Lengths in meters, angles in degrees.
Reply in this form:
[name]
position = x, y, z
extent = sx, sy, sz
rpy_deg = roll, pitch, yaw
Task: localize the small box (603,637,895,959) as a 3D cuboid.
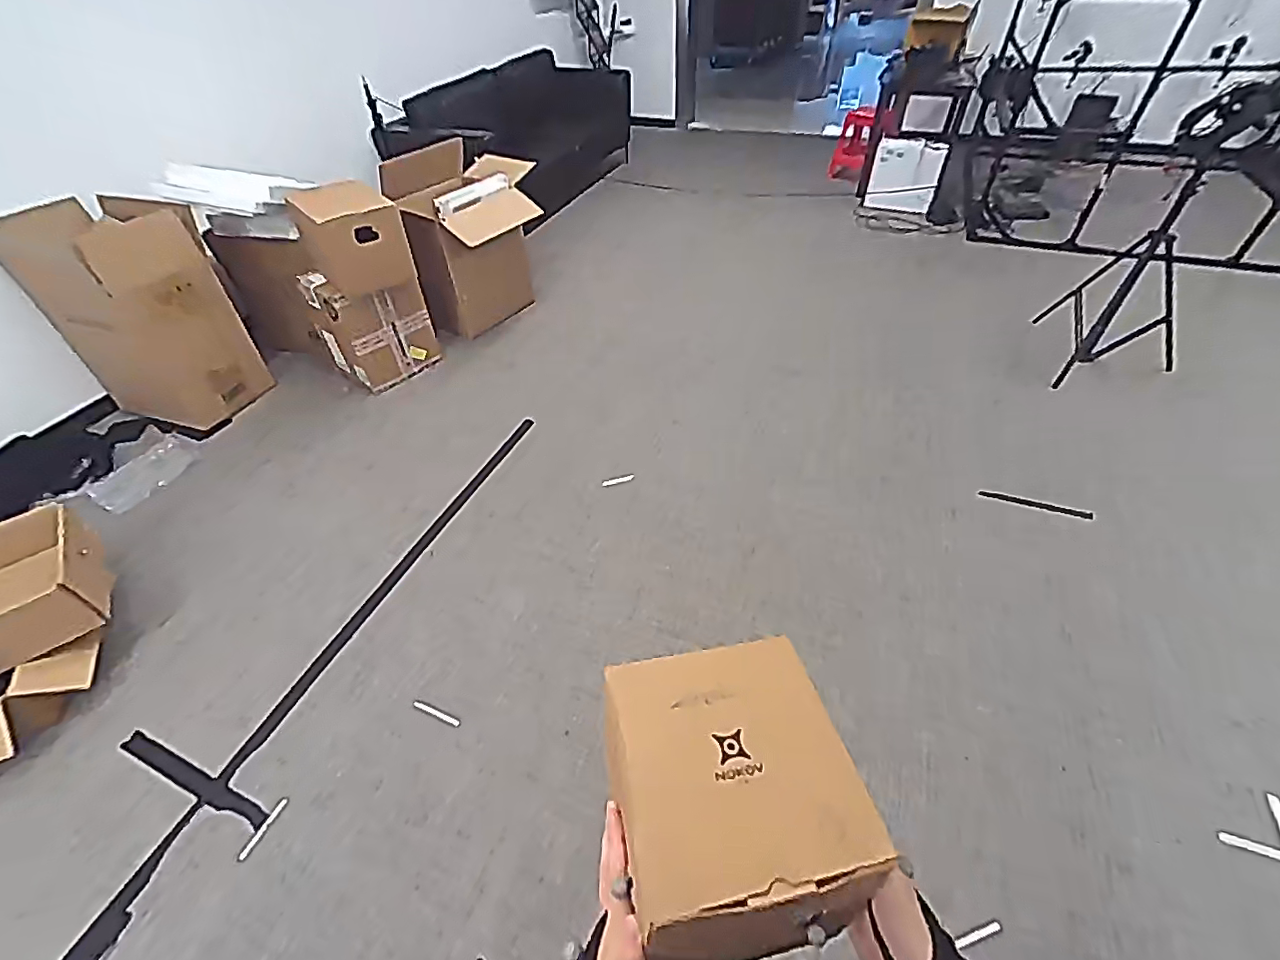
[small box]
position = 0.065, 0.260, 0.439
extent = 0.168, 0.176, 0.179
rpy_deg = -6, 37, -11
